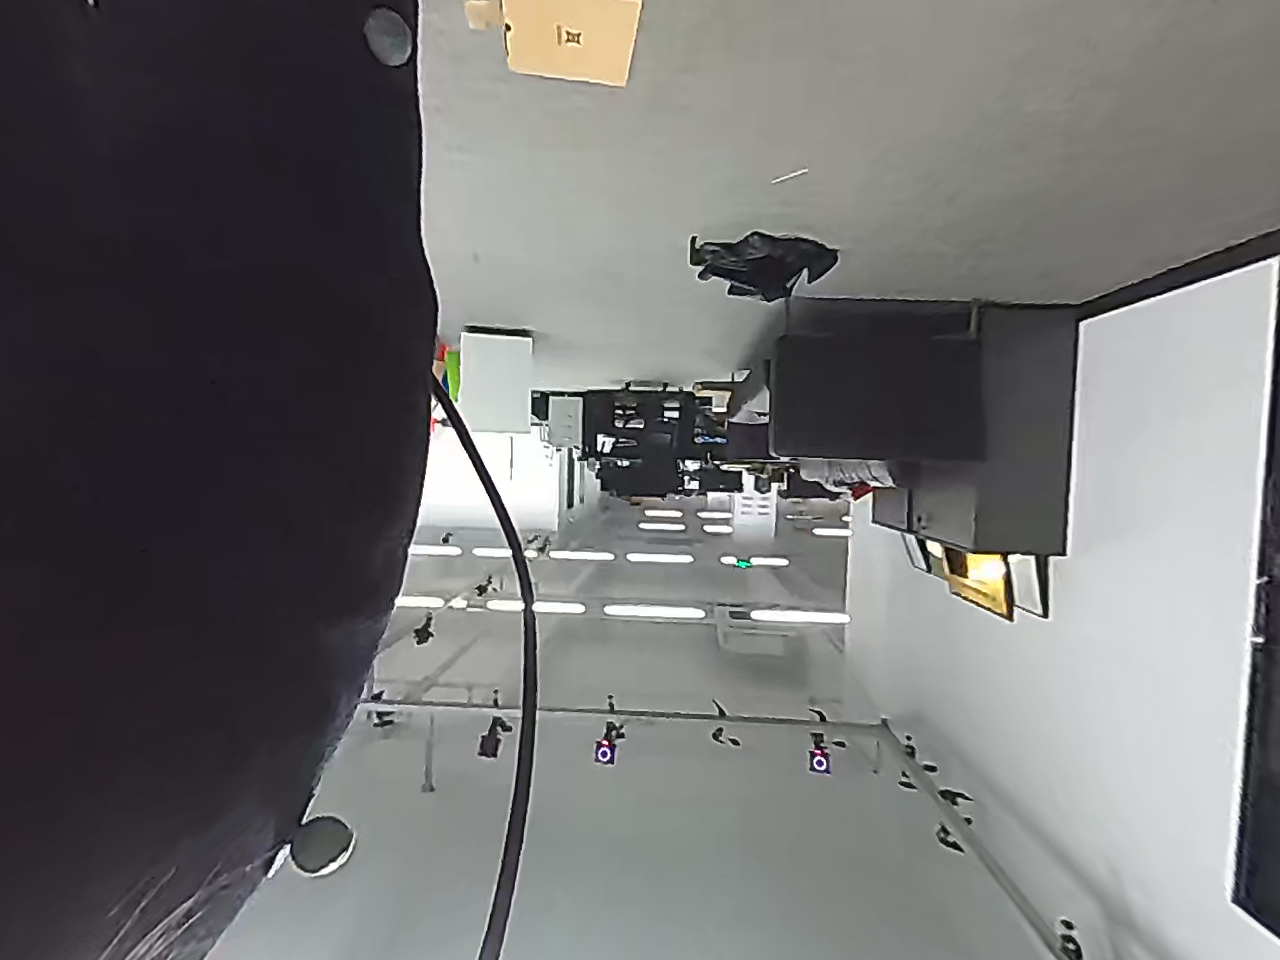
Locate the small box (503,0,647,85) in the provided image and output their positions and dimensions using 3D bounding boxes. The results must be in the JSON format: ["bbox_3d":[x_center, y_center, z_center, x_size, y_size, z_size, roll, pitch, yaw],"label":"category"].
[{"bbox_3d":[-0.087,-0.666,0.708,0.179,0.176,0.168,1,-176,-9],"label":"small box"}]
